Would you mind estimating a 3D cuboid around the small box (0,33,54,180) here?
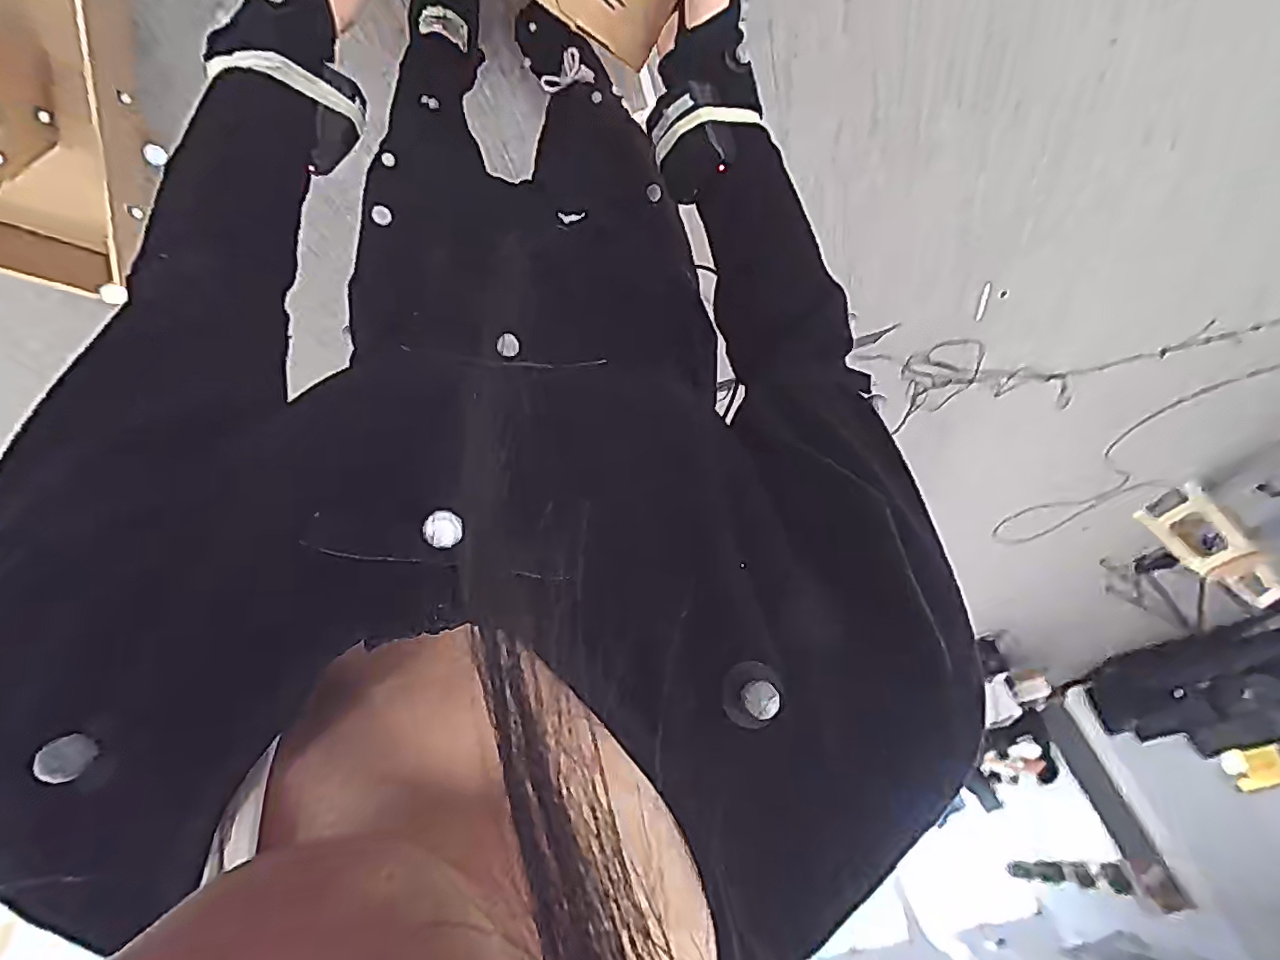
[{"bbox_3d":[-1.097,-0.627,0.858,0.179,0.176,0.168,16,134,-31],"label":"small box"}]
